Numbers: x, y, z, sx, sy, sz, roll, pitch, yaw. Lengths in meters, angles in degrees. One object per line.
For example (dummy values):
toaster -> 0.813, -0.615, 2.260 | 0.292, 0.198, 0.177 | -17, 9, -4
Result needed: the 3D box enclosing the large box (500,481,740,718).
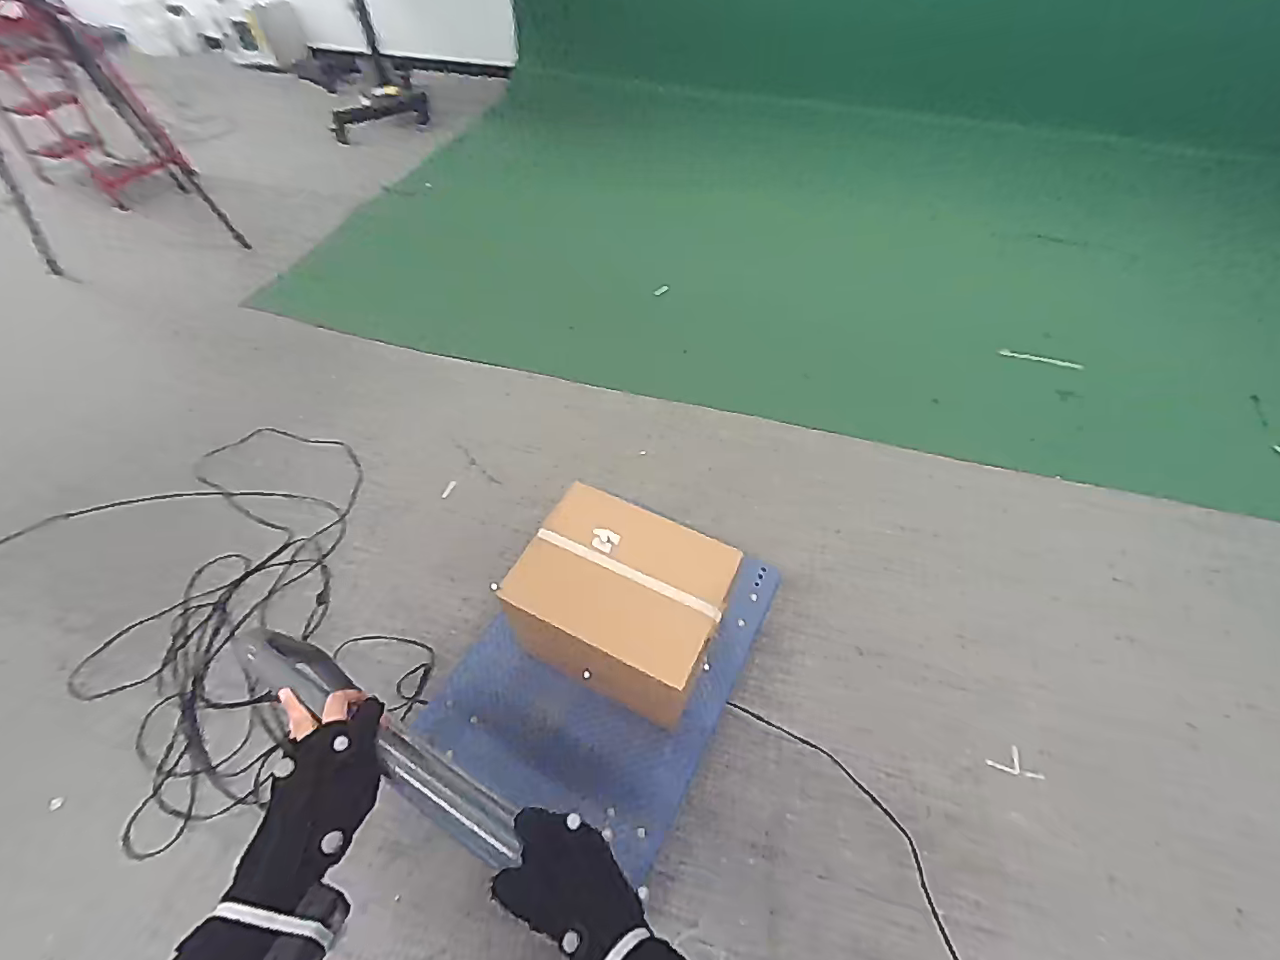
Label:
large box -> -0.030, 0.267, 1.207 | 0.408, 0.320, 0.320 | 22, 55, 17
